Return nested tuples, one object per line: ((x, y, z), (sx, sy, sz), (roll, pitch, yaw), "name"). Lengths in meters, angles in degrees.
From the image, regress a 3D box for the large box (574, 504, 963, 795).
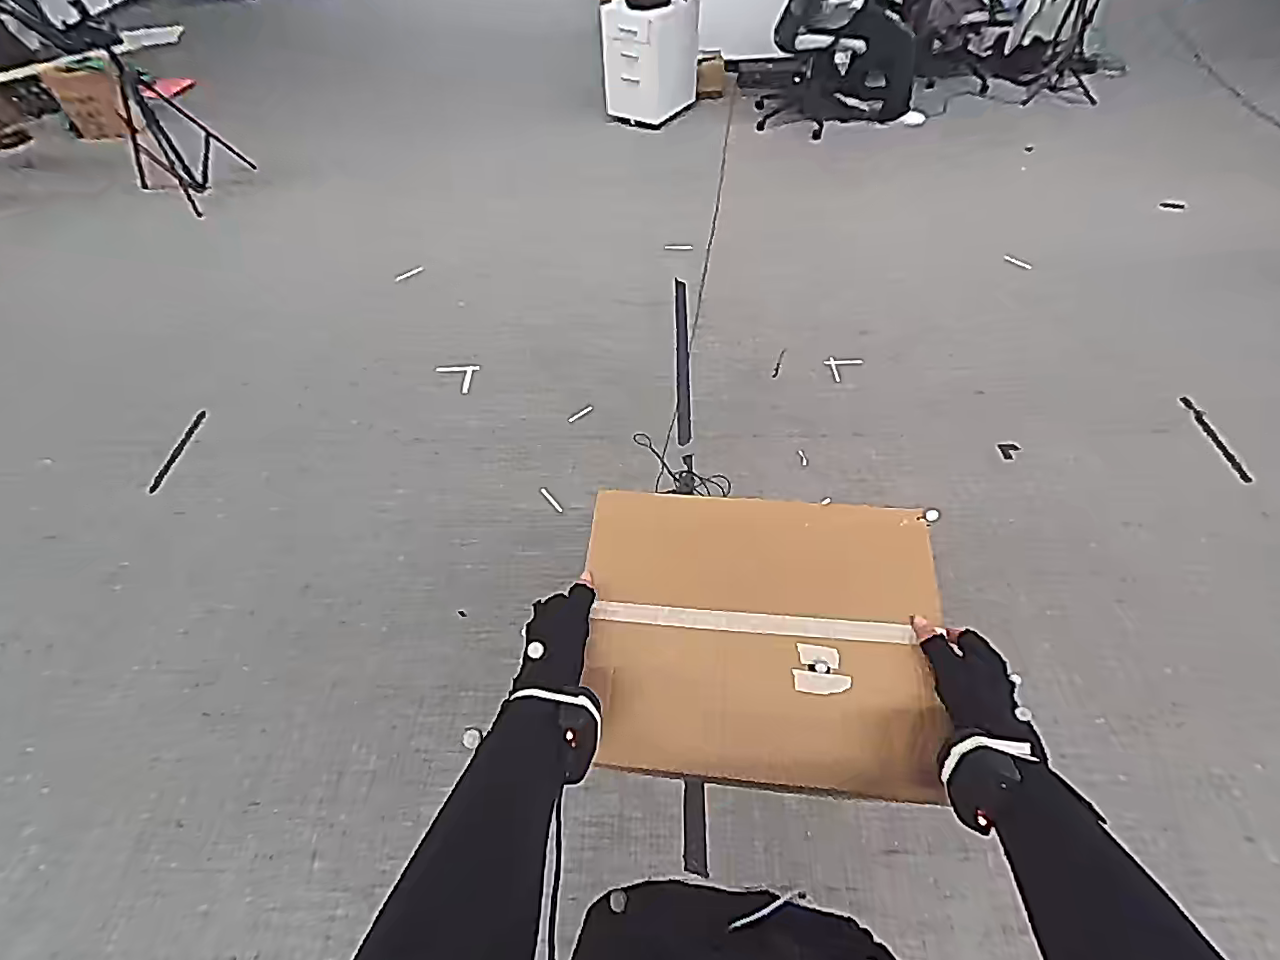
((0.143, 0.245, 0.753), (0.408, 0.320, 0.320), (3, 61, 5), "large box")
